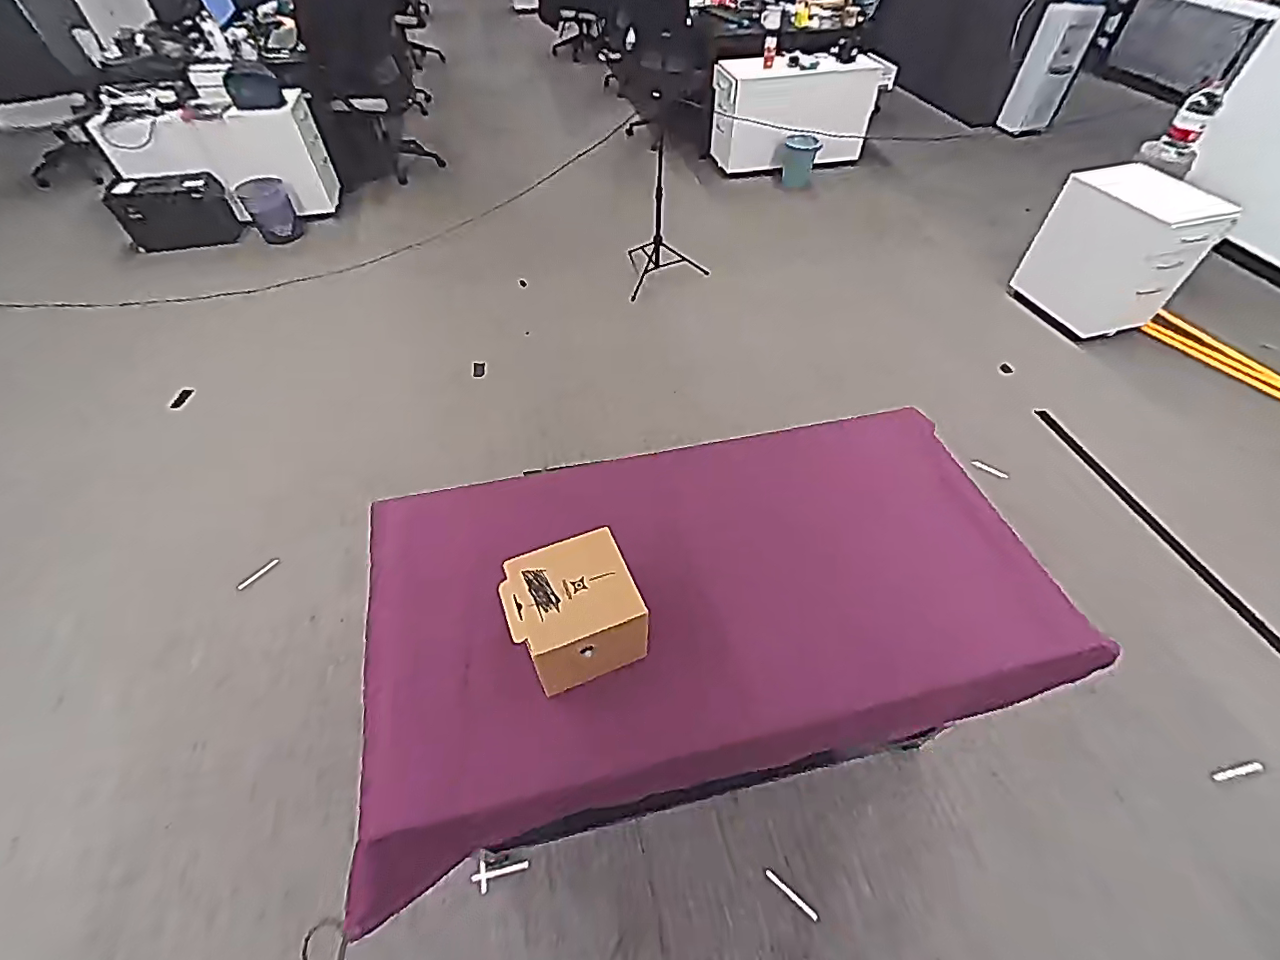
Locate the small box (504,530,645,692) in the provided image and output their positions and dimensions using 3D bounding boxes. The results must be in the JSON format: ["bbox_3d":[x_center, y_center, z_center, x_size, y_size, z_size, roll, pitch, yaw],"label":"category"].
[{"bbox_3d":[-0.101,0.213,0.869,0.179,0.176,0.168,-17,53,-15],"label":"small box"}]
